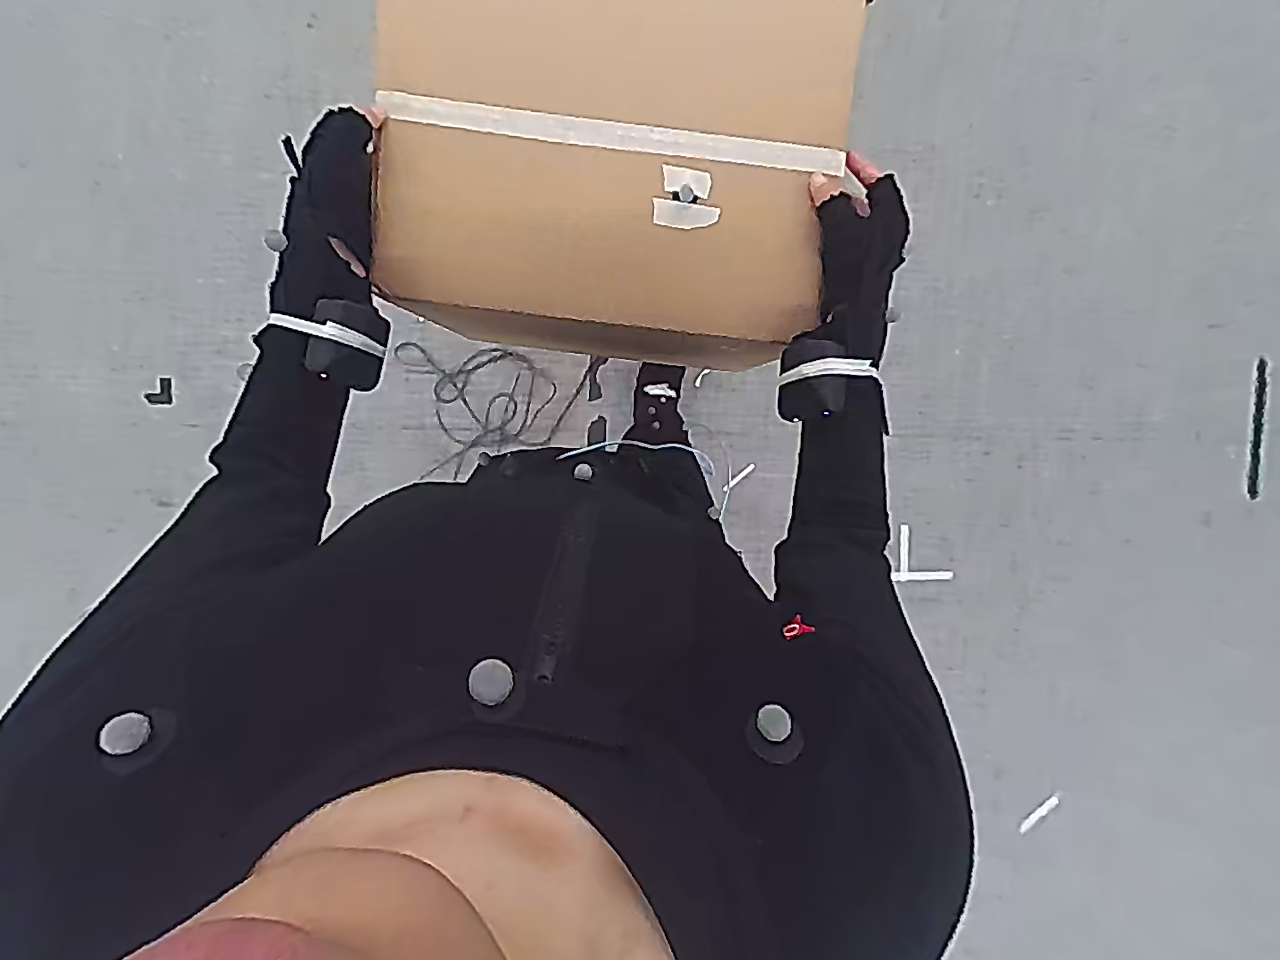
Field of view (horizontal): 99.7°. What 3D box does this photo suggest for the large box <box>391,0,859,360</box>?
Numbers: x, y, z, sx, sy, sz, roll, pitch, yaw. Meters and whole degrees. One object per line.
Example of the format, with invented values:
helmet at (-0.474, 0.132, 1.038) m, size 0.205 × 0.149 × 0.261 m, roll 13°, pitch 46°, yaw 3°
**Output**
large box at (-0.025, -0.327, 0.631) m, size 0.408 × 0.320 × 0.320 m, roll 6°, pitch 98°, yaw -3°
